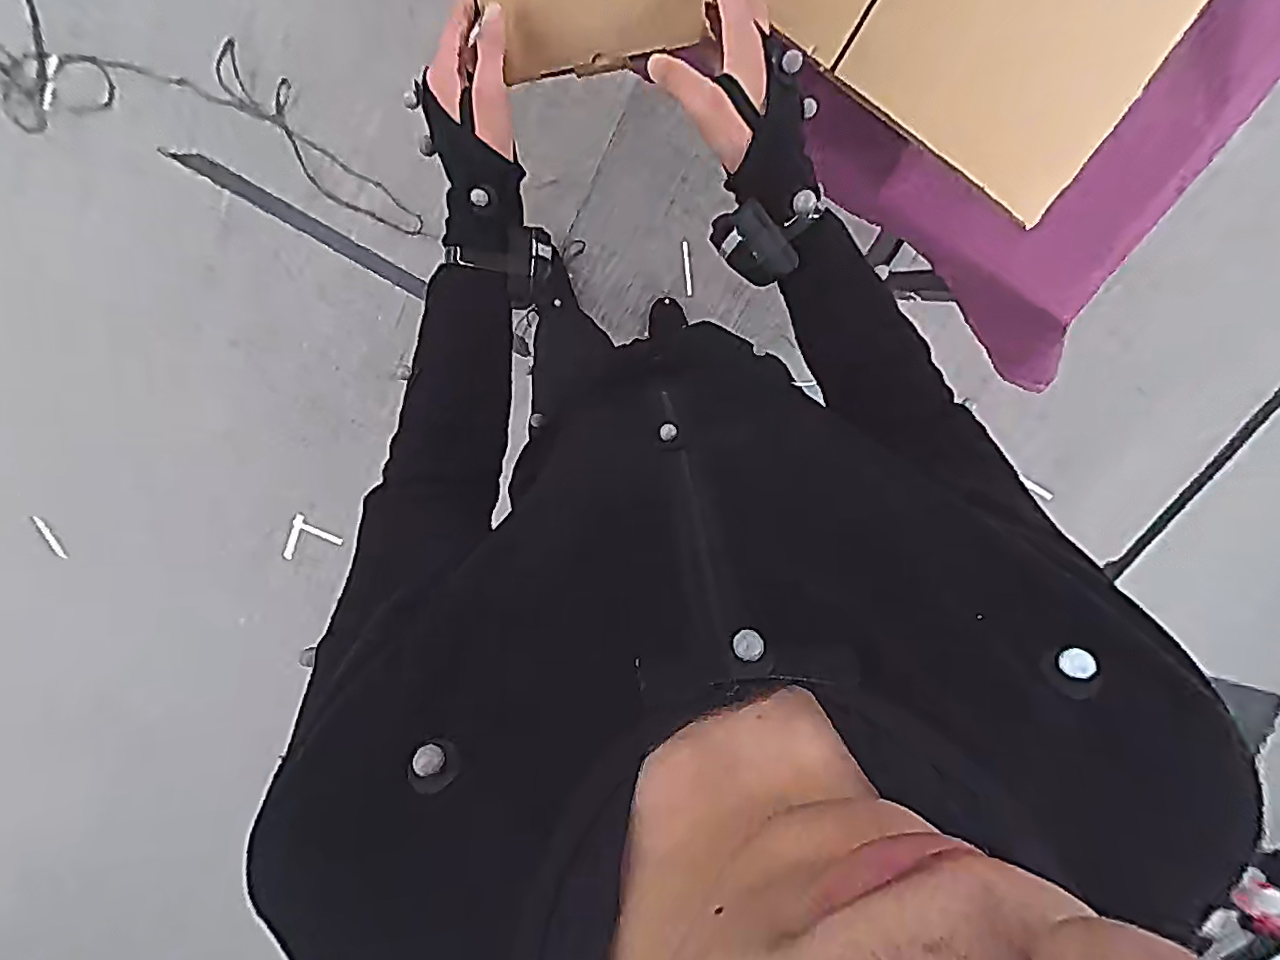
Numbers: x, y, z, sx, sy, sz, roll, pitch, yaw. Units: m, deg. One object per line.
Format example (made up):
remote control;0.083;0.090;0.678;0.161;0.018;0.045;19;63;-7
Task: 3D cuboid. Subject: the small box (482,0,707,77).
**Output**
small box;-0.035;-0.444;0.410;0.168;0.176;0.179;-2;138;12
